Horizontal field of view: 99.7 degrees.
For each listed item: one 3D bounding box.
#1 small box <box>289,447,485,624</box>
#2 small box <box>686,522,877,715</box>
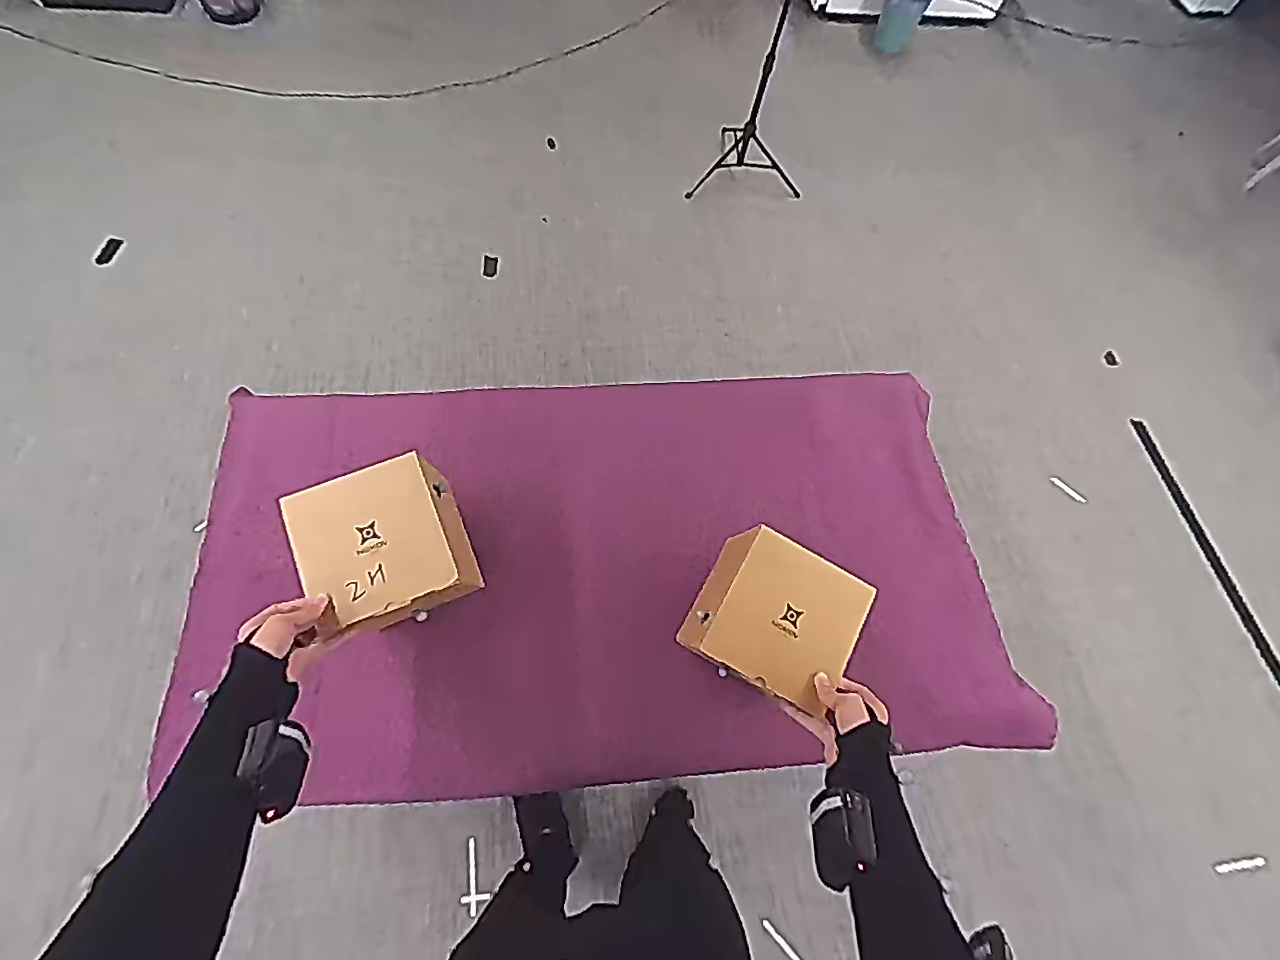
[{"bbox_3d":[-0.324,0.081,0.723,0.168,0.176,0.179,-21,80,-10],"label":"small box"},{"bbox_3d":[0.176,0.180,0.730,0.168,0.176,0.179,30,77,3],"label":"small box"}]
